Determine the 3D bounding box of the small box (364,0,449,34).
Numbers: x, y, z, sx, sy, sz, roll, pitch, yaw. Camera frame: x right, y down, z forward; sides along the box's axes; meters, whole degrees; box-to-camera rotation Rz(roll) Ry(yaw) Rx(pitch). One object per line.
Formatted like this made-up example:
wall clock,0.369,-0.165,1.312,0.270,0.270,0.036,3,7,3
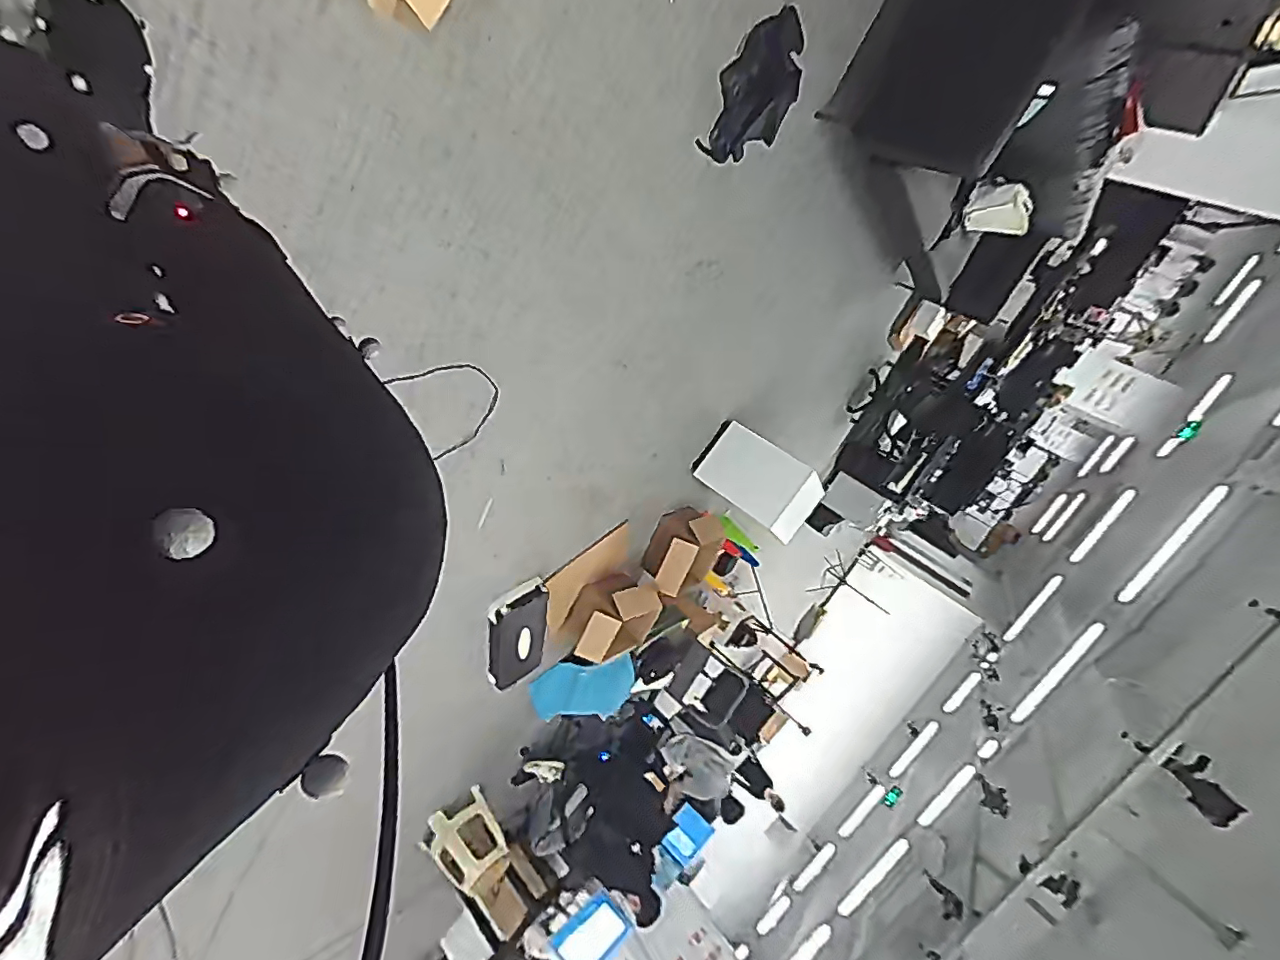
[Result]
small box,-0.428,-0.938,0.938,0.179,0.176,0.168,-56,153,6
